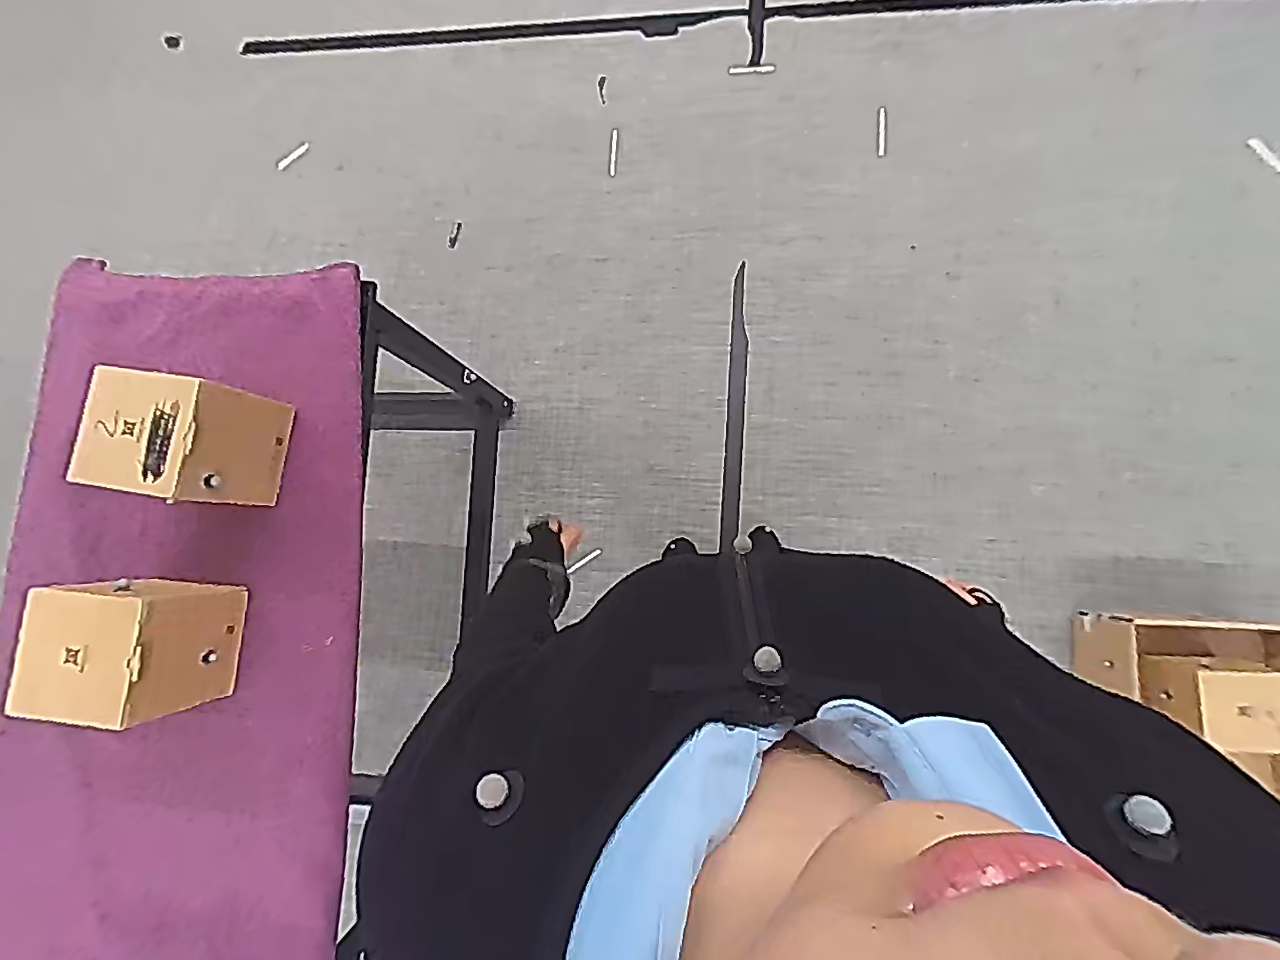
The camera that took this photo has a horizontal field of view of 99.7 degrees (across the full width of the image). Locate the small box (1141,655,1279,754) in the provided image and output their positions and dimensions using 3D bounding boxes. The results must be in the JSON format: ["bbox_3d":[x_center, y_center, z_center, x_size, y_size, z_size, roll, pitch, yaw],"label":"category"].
[{"bbox_3d":[1.288,0.499,1.223,0.179,0.176,0.168,0,84,6],"label":"small box"}]

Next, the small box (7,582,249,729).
[{"bbox_3d":[-0.720,0.239,0.779,0.179,0.176,0.168,4,84,6],"label":"small box"}]
